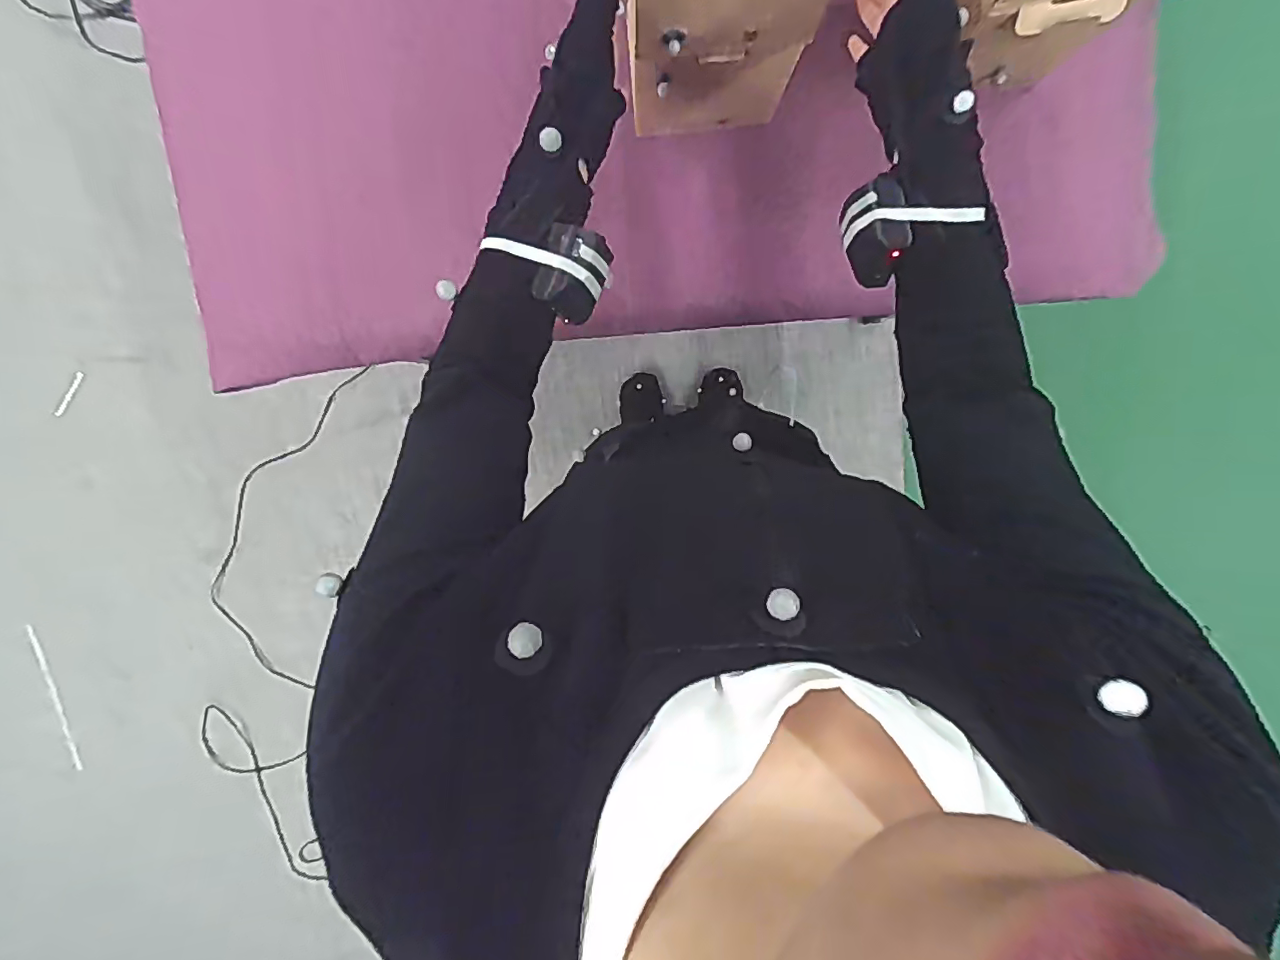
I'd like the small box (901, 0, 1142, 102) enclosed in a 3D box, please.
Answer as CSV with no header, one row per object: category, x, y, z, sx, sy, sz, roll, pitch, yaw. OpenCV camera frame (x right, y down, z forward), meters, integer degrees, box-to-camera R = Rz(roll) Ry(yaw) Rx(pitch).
small box,0.389,-0.541,0.564,0.168,0.176,0.179,-8,100,2

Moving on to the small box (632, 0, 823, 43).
small box,0.071,-0.472,0.408,0.168,0.176,0.179,-6,98,1
